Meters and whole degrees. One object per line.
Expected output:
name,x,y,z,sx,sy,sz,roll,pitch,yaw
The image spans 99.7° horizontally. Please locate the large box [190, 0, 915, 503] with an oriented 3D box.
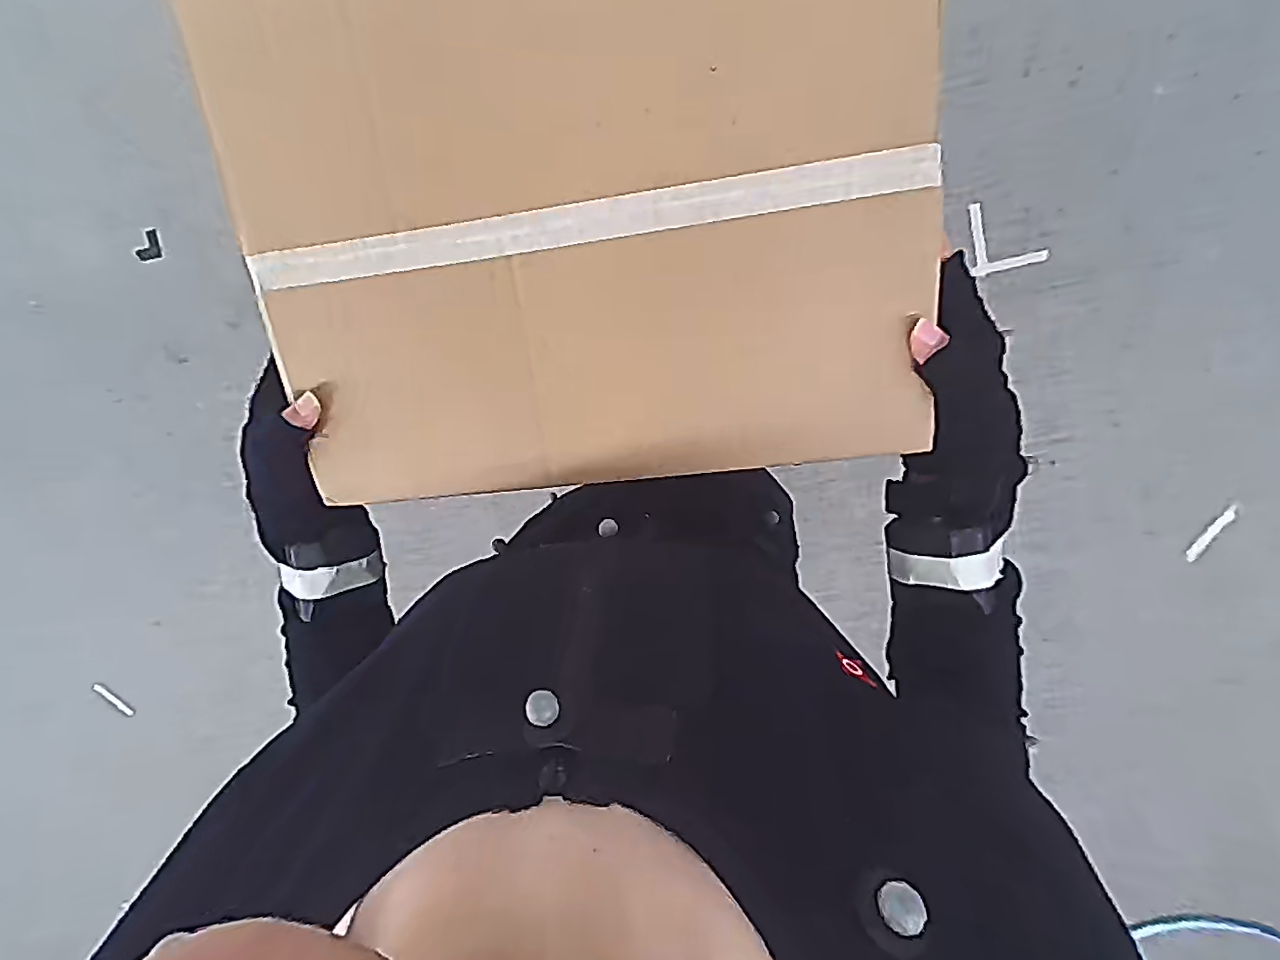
large box,-0.027,-0.193,0.465,0.408,0.320,0.320,-5,106,8
